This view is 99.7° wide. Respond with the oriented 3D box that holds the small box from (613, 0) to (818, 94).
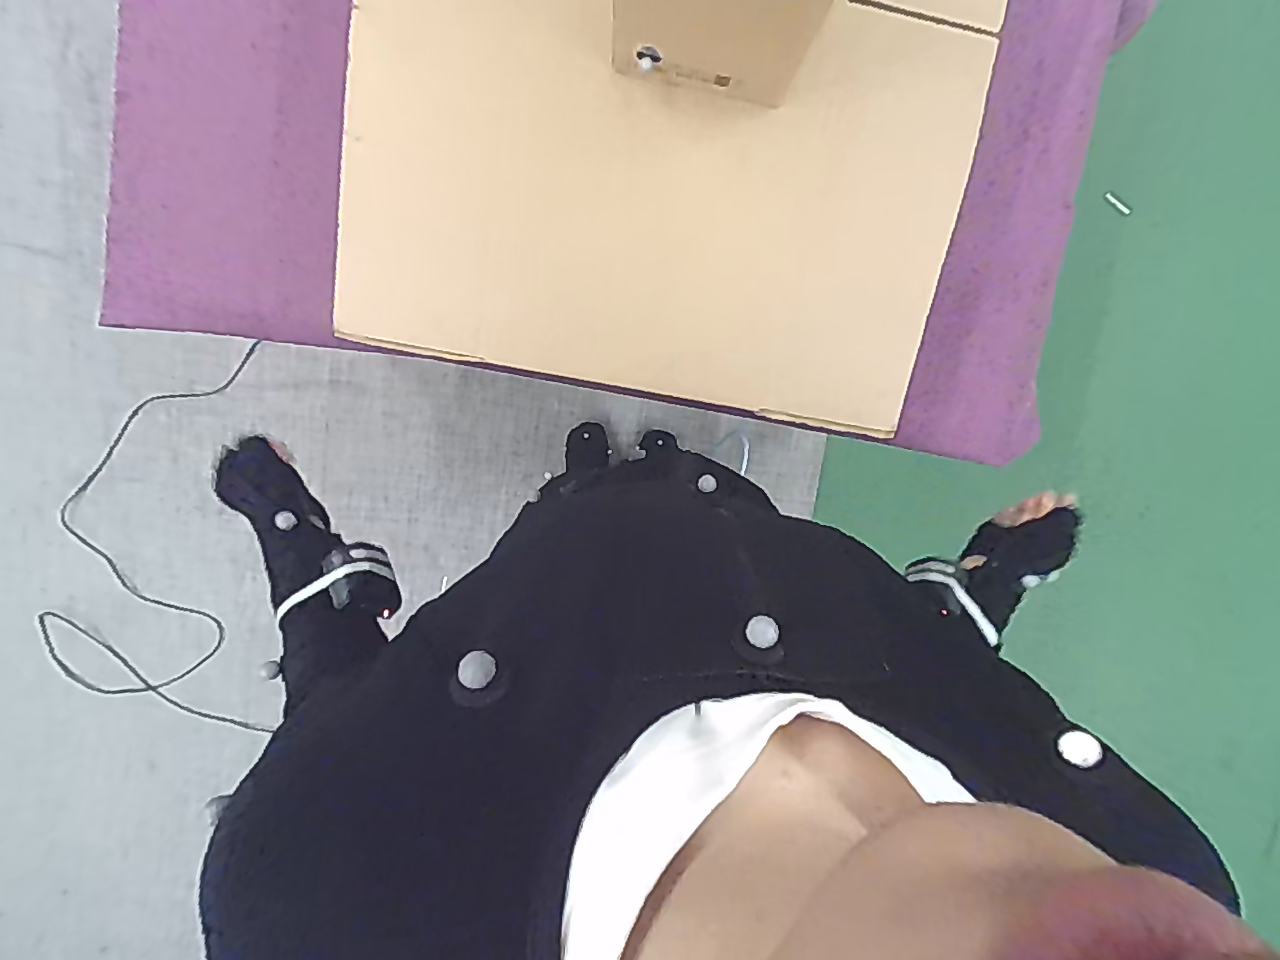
[{"bbox_3d":[0.070,-0.457,0.433,0.168,0.176,0.179,9,94,-5],"label":"small box"}]
